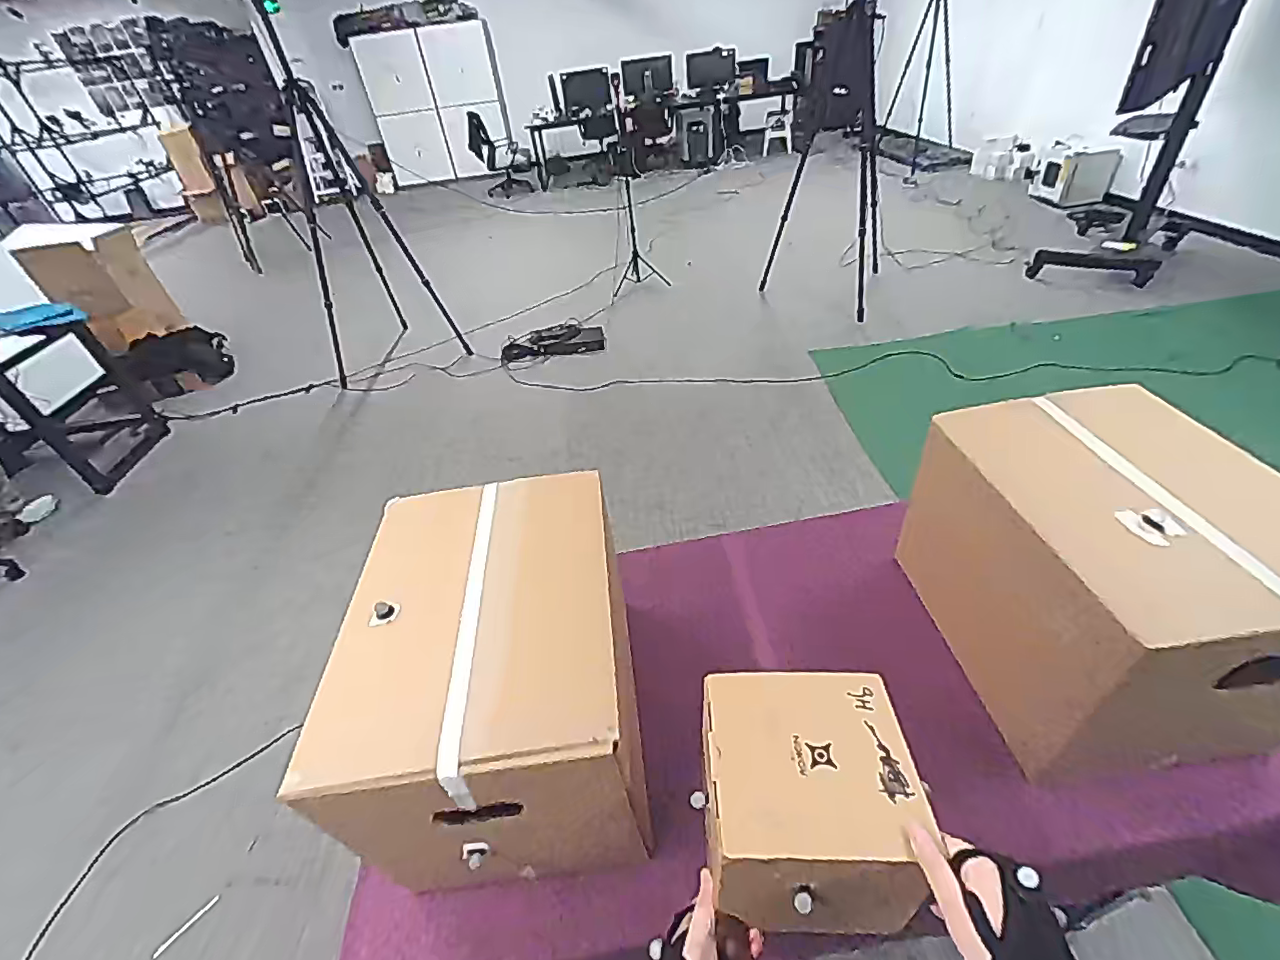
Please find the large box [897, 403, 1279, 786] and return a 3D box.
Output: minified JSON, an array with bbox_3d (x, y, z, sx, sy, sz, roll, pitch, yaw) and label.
[{"bbox_3d":[0.623,0.139,0.752,0.320,0.320,0.408,-8,40,0],"label":"large box"}]
